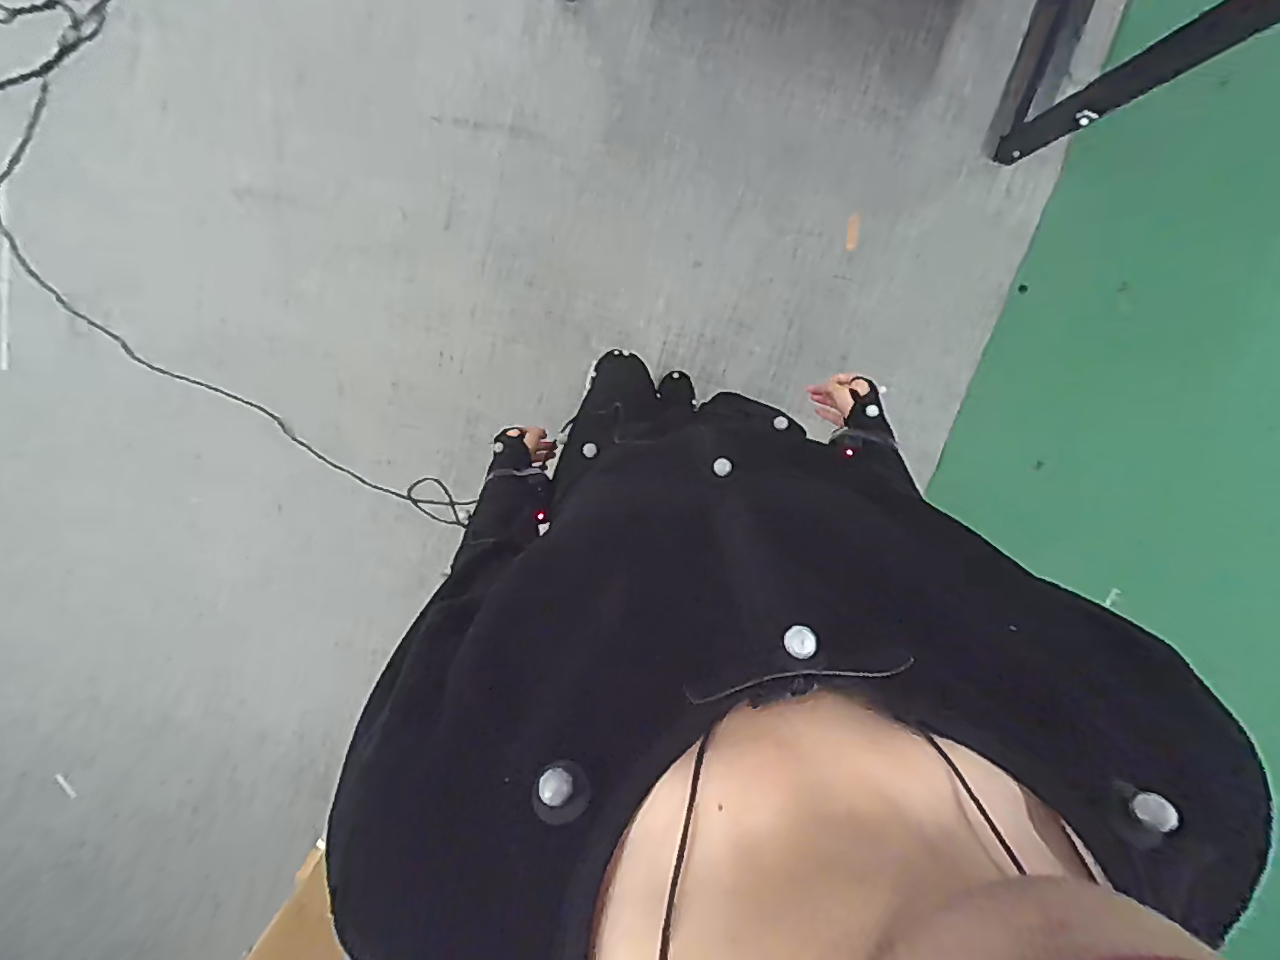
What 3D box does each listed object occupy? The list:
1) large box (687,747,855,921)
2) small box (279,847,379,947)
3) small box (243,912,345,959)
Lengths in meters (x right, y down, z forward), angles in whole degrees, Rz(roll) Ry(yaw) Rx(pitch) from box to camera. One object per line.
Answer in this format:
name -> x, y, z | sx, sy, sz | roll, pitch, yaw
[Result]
large box -> 0.355, 1.016, 1.580 | 0.408, 0.320, 0.320 | 2, 103, -2
small box -> -0.786, 1.068, 1.338 | 0.168, 0.176, 0.179 | 34, 101, -7
small box -> -0.795, 1.100, 1.179 | 0.179, 0.176, 0.168 | 36, 101, -8
